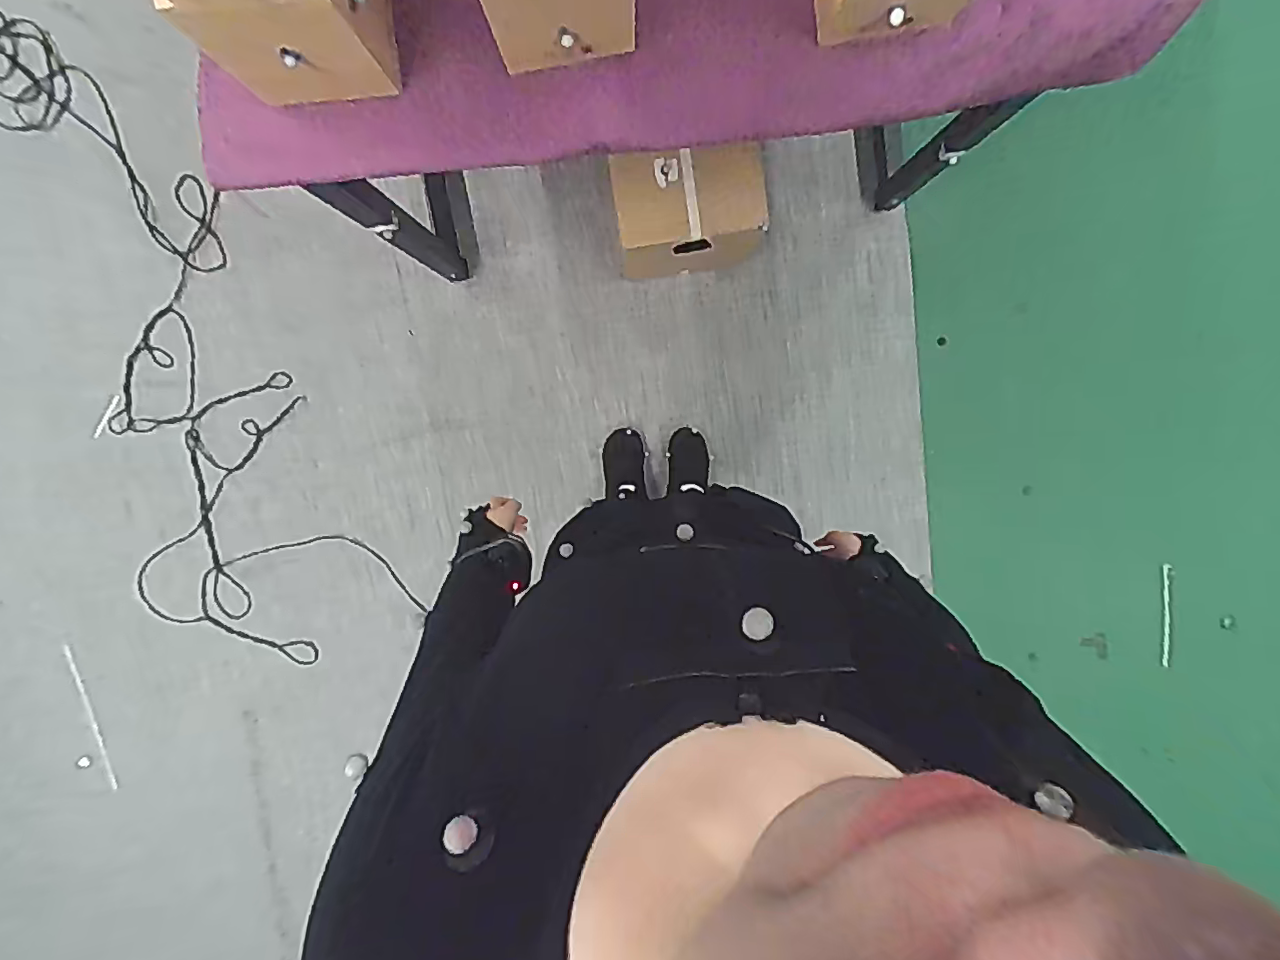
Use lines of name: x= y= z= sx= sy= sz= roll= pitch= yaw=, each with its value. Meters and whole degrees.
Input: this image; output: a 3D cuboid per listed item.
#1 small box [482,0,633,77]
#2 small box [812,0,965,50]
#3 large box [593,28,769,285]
small box: x=-0.102 y=-0.600 z=0.598 sx=0.168 sy=0.176 sz=0.179 roll=-10 pitch=97 yaw=2
small box: x=0.292 y=-0.630 z=0.596 sx=0.168 sy=0.176 sz=0.179 roll=-8 pitch=98 yaw=1
large box: x=0.086 y=-0.709 z=1.254 sx=0.320 sy=0.320 sz=0.408 roll=-9 pitch=98 yaw=2
